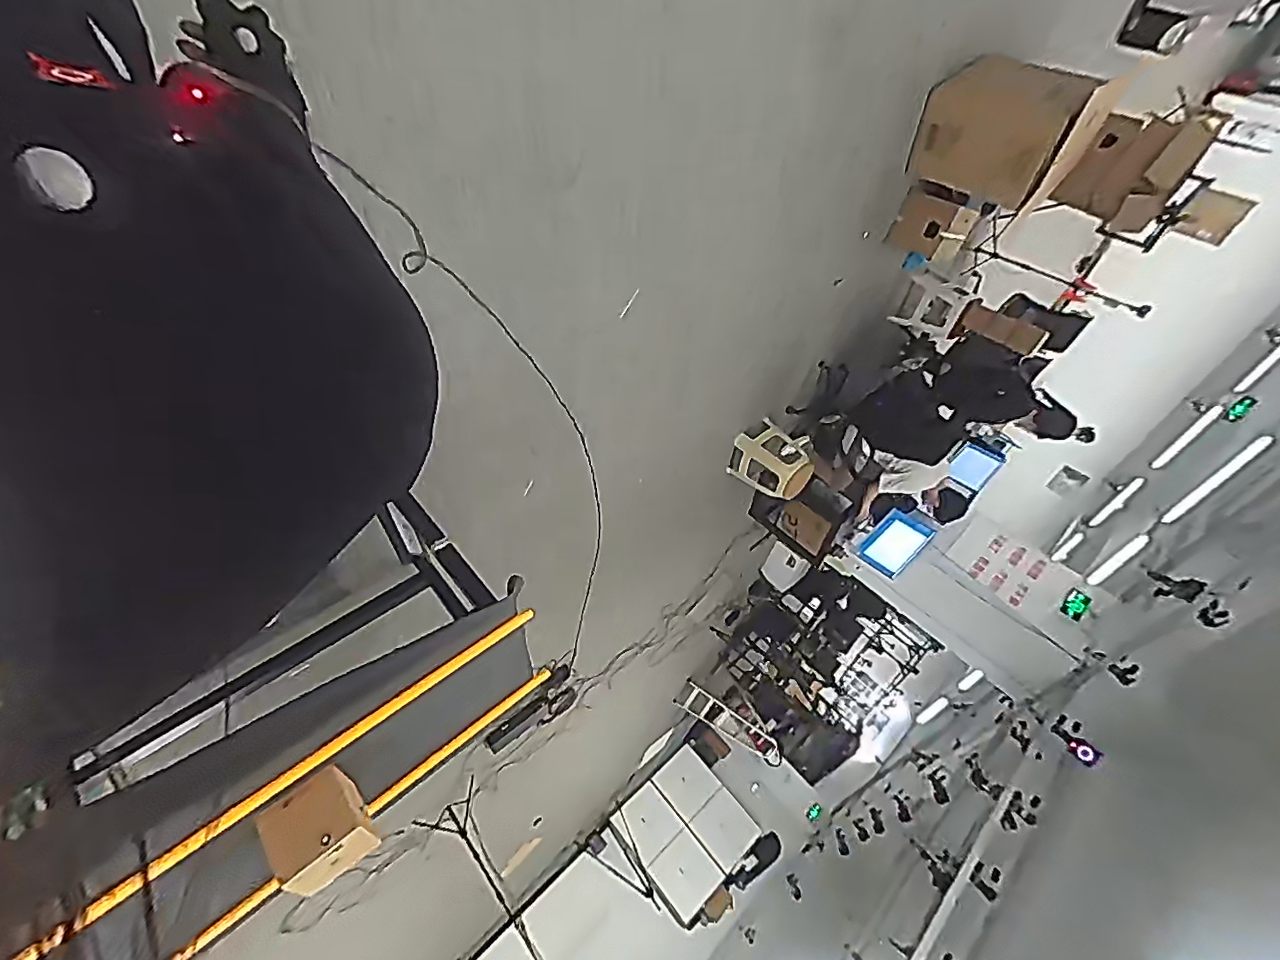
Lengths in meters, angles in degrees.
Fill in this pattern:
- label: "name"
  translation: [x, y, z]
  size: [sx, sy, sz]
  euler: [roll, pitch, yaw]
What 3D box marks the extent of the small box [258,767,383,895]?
- label: "small box"
  translation: [-0.718, 0.788, 1.223]
  size: [0.168, 0.176, 0.179]
  euler: [-33, 149, -30]
